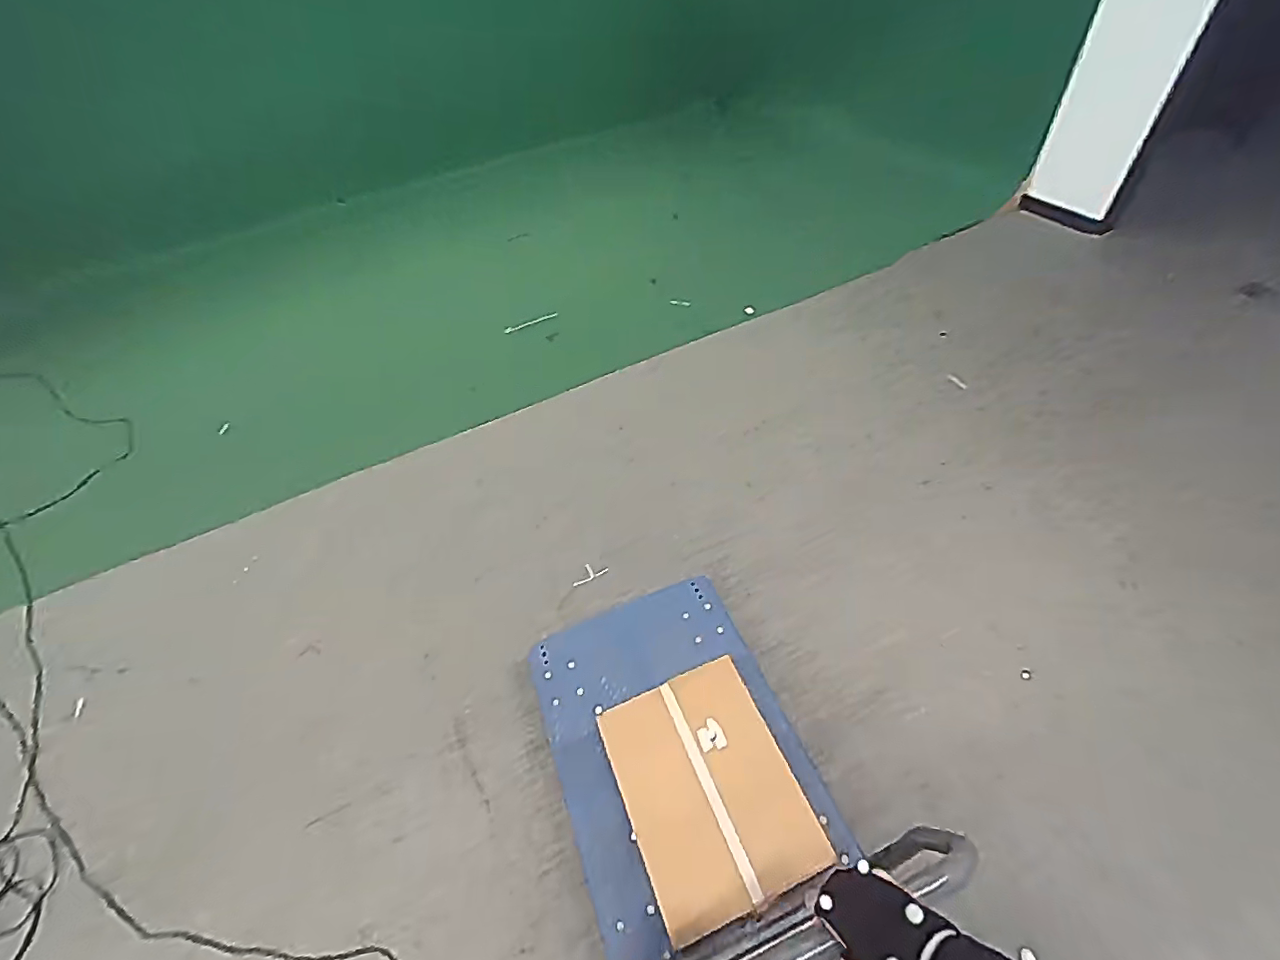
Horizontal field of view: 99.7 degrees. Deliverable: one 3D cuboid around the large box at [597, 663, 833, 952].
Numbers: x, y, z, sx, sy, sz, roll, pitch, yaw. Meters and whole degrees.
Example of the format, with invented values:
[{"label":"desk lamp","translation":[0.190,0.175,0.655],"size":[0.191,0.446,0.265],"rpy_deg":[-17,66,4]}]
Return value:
[{"label":"large box","translation":[0.143,0.681,1.144],"size":[0.320,0.320,0.408],"rpy_deg":[-21,49,-10]}]
